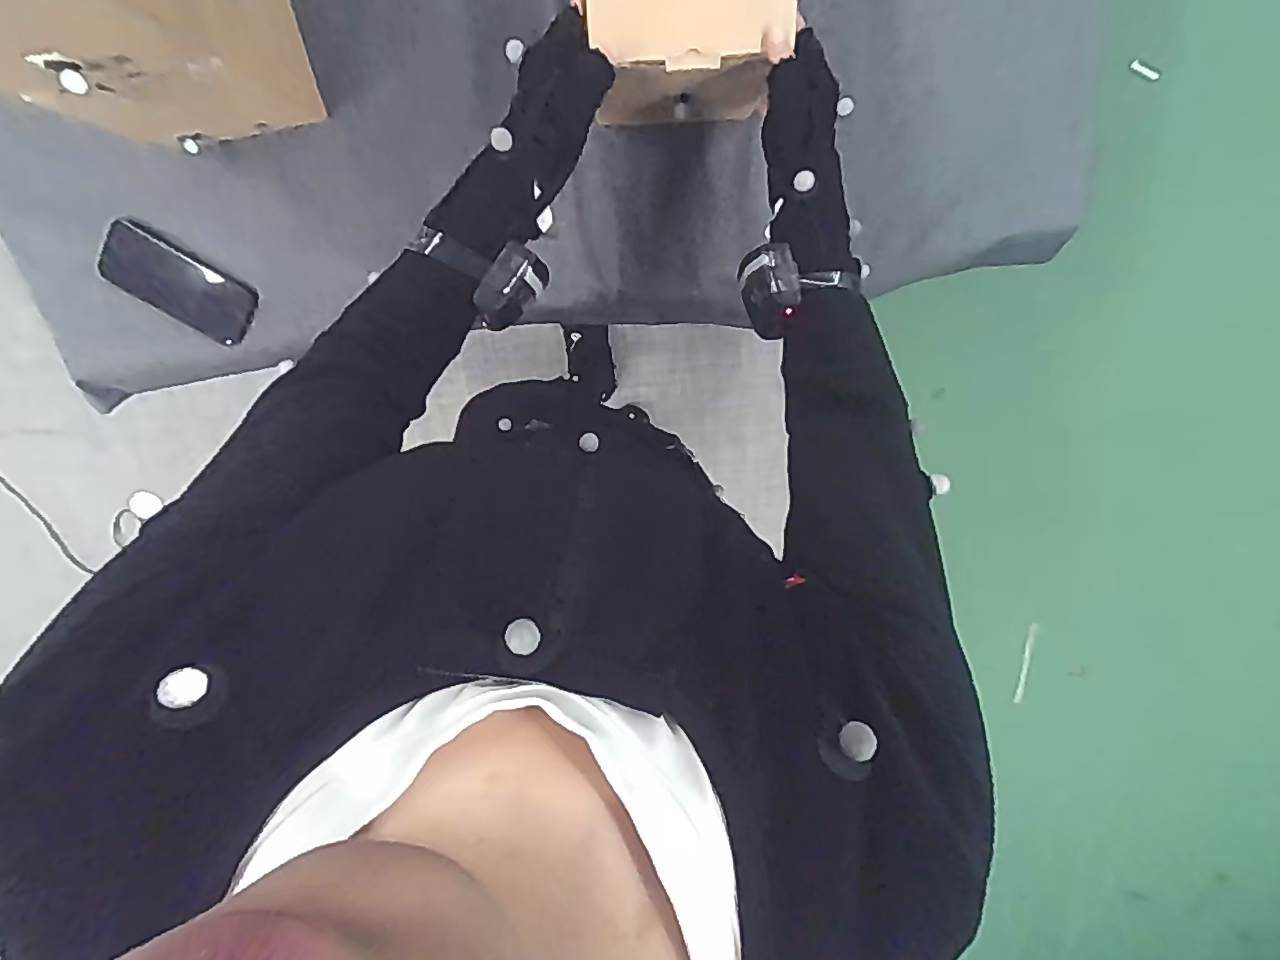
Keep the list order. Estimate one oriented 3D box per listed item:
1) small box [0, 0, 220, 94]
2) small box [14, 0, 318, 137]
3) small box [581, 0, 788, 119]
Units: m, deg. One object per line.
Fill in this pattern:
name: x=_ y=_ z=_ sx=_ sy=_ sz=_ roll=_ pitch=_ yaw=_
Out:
small box: x=-0.410 y=-0.366 z=0.315 sx=0.168 sy=0.176 sz=0.179 roll=-11 pitch=111 yaw=2
small box: x=-0.421 y=-0.420 z=0.468 sx=0.168 sy=0.176 sz=0.179 roll=-11 pitch=109 yaw=1
small box: x=0.032 y=-0.442 z=0.482 sx=0.168 sy=0.176 sz=0.179 roll=-4 pitch=110 yaw=0
